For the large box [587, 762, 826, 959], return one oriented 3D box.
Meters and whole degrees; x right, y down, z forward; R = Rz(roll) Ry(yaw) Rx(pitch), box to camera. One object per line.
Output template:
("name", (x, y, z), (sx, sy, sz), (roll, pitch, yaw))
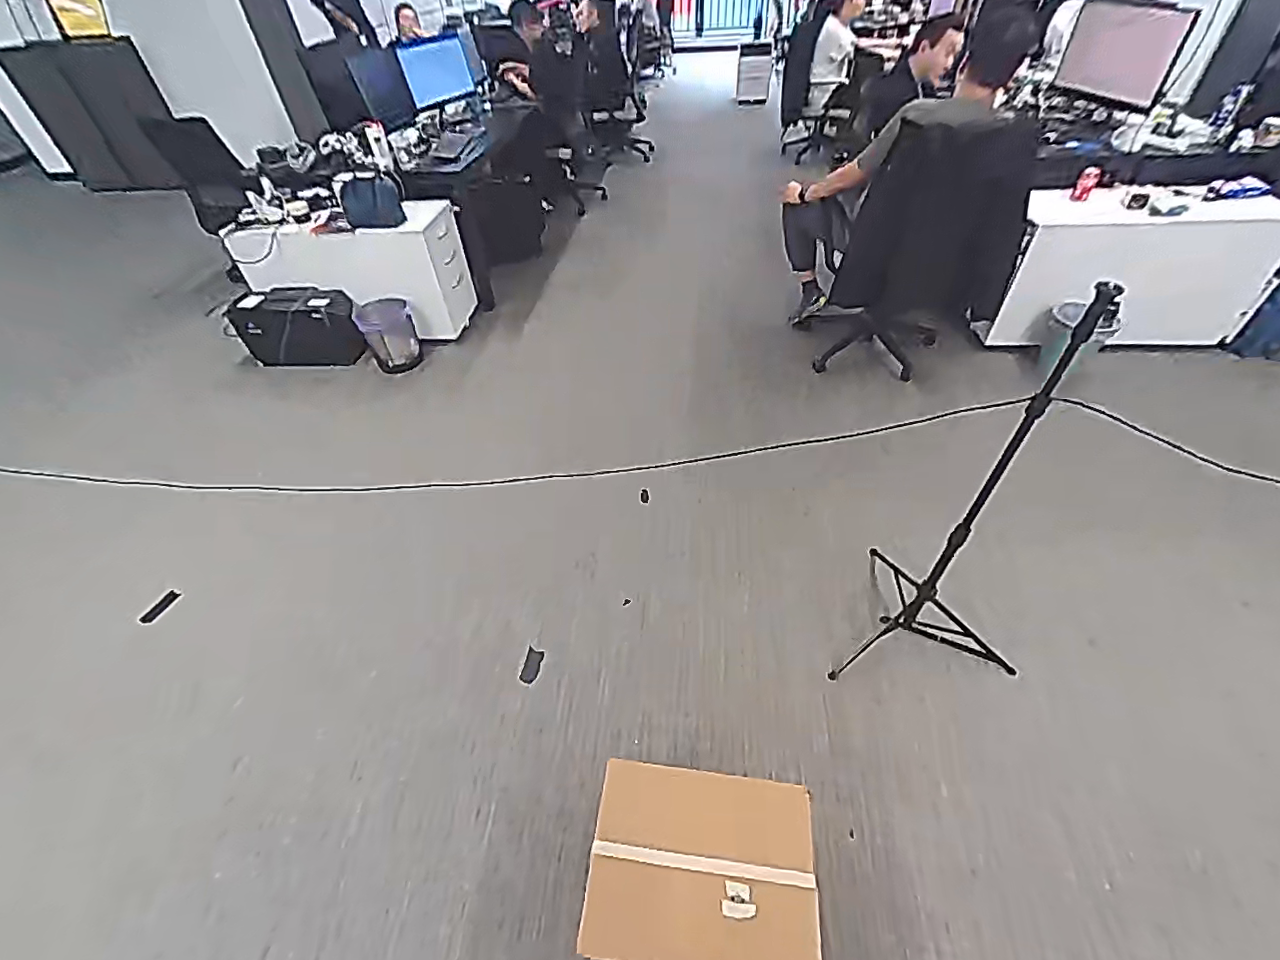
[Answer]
("large box", (0.128, 0.808, 1.089), (0.408, 0.320, 0.320), (5, 45, 8))
